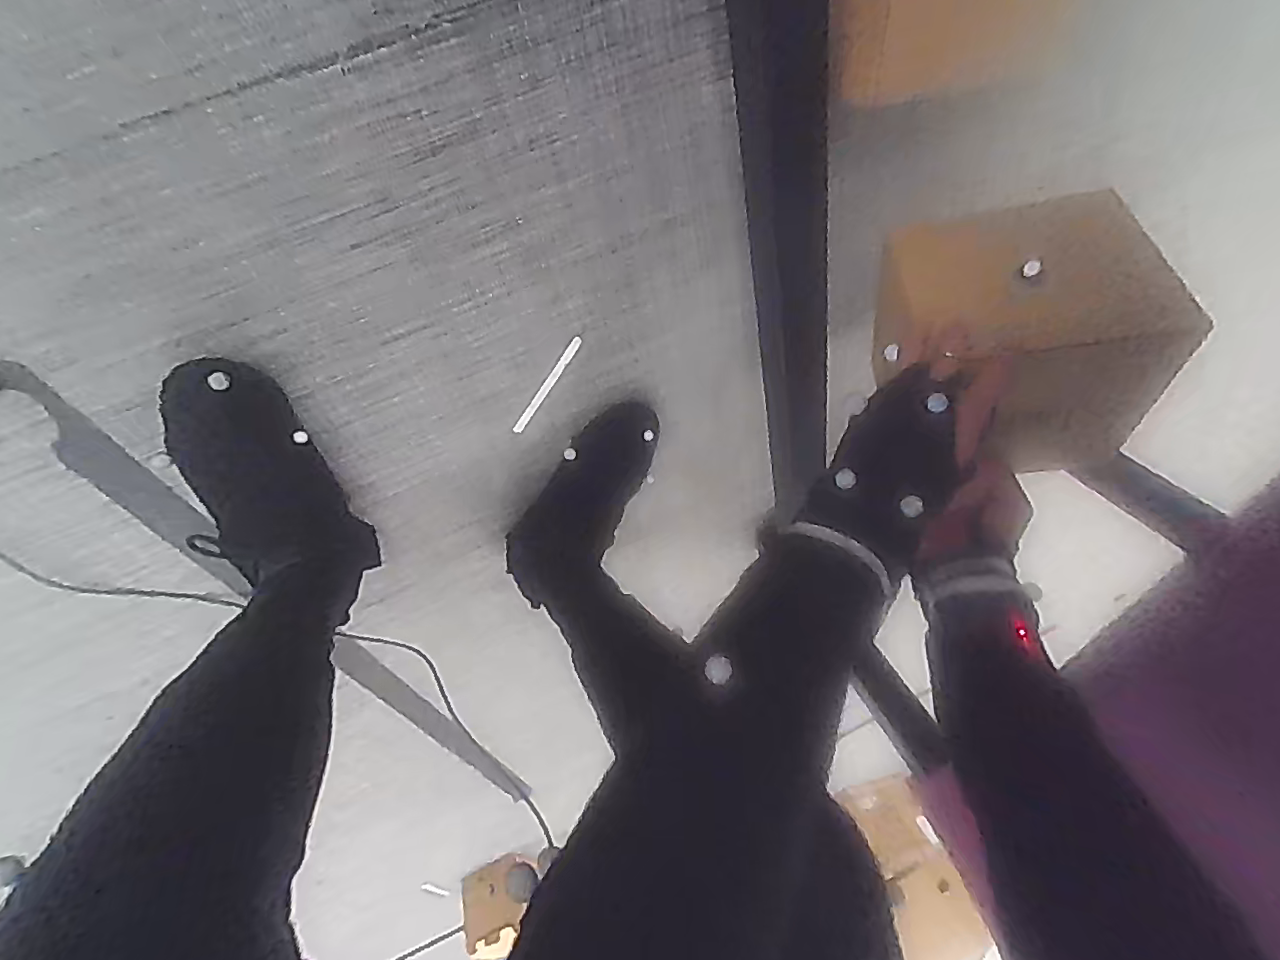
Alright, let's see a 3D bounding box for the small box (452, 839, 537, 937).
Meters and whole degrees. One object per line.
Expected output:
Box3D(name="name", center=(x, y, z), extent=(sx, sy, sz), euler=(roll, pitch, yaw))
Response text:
Box3D(name="small box", center=(-0.406, 1.133, 1.506), extent=(0.168, 0.176, 0.179), euler=(-25, 136, -3))
